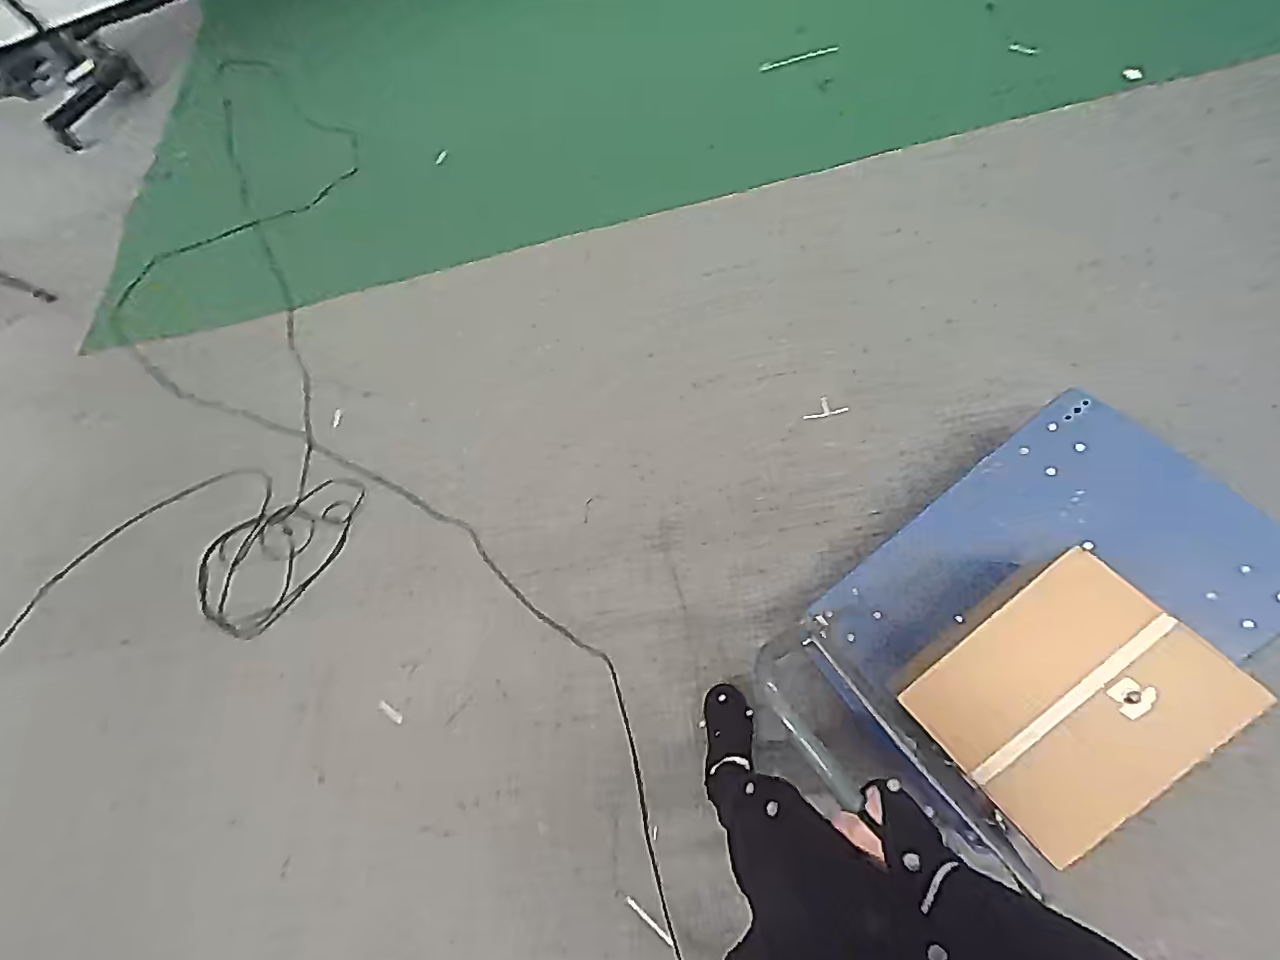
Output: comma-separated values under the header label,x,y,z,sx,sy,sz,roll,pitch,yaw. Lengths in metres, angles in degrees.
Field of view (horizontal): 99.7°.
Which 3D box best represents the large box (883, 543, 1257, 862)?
label,x,y,z,sx,sy,sz,roll,pitch,yaw
large box,0.721,0.384,1.000,0.408,0.320,0.320,-42,66,4
